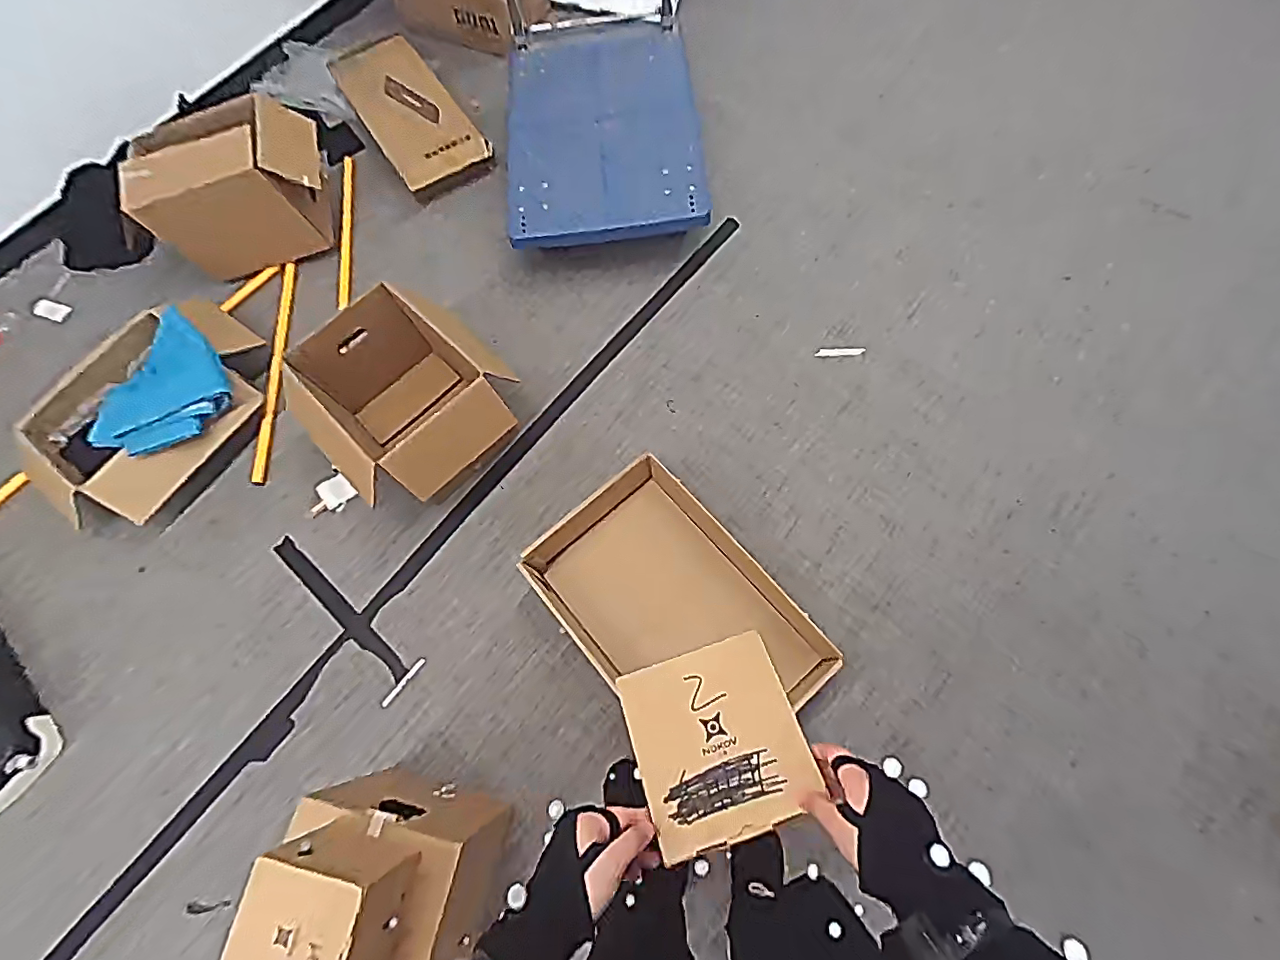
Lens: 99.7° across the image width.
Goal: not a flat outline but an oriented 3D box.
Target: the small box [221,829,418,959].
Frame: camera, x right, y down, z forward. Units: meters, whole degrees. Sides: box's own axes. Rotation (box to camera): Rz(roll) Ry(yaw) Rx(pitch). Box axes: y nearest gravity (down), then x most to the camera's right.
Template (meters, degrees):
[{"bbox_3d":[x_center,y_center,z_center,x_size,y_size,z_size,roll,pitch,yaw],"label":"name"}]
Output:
[{"bbox_3d":[-0.471,0.651,0.810,0.179,0.176,0.168,10,73,7],"label":"small box"}]

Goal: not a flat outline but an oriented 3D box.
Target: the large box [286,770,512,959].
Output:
[{"bbox_3d":[-0.474,0.818,1.013,0.320,0.320,0.408,10,72,9],"label":"large box"}]
